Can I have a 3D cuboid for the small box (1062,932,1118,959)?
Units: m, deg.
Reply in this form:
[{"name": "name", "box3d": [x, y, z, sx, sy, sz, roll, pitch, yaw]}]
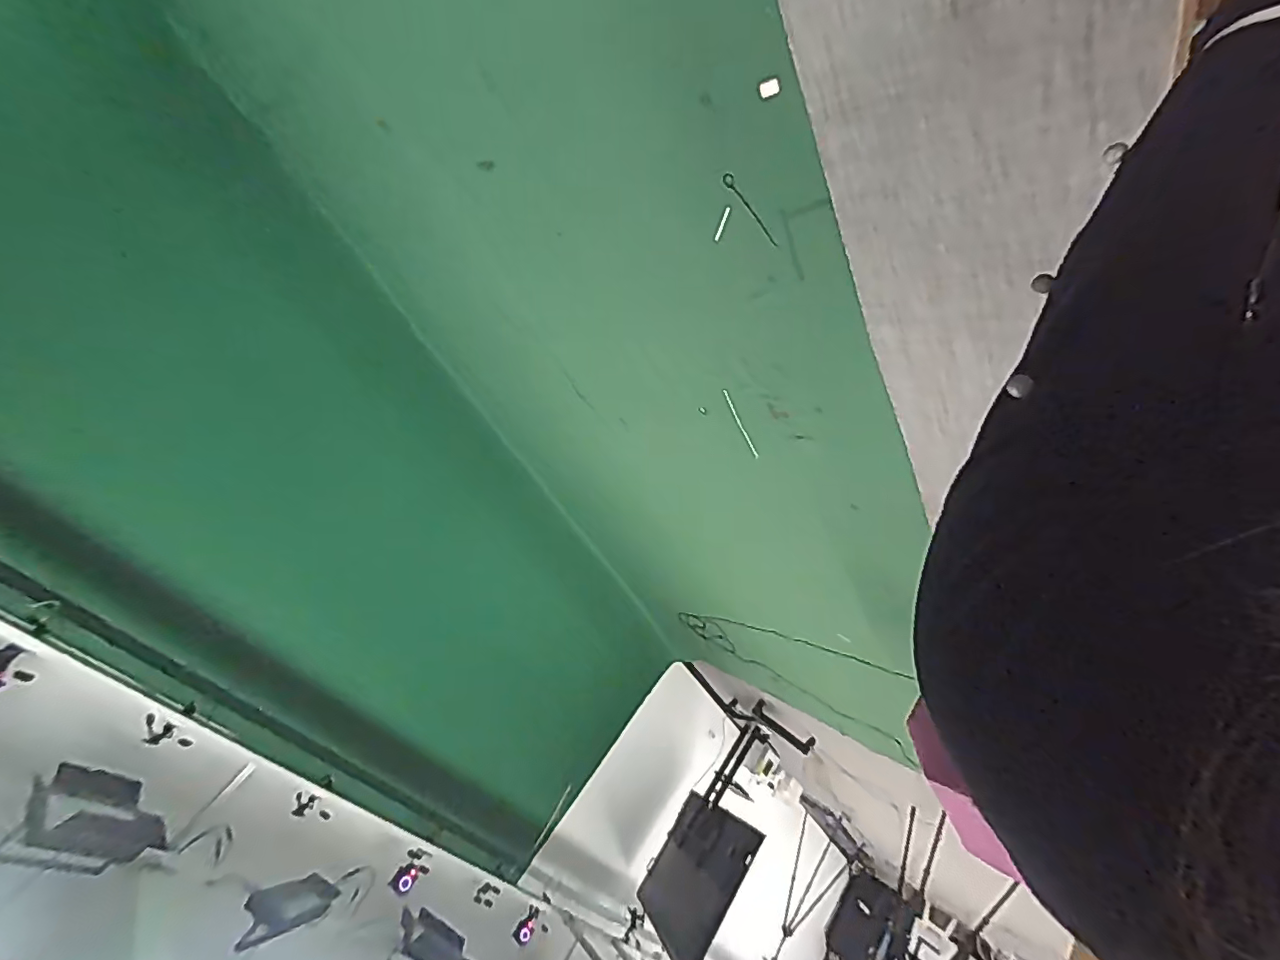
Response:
[{"name": "small box", "box3d": [1.131, 1.254, 1.306, 0.179, 0.176, 0.168, 7, 140, 51]}]
